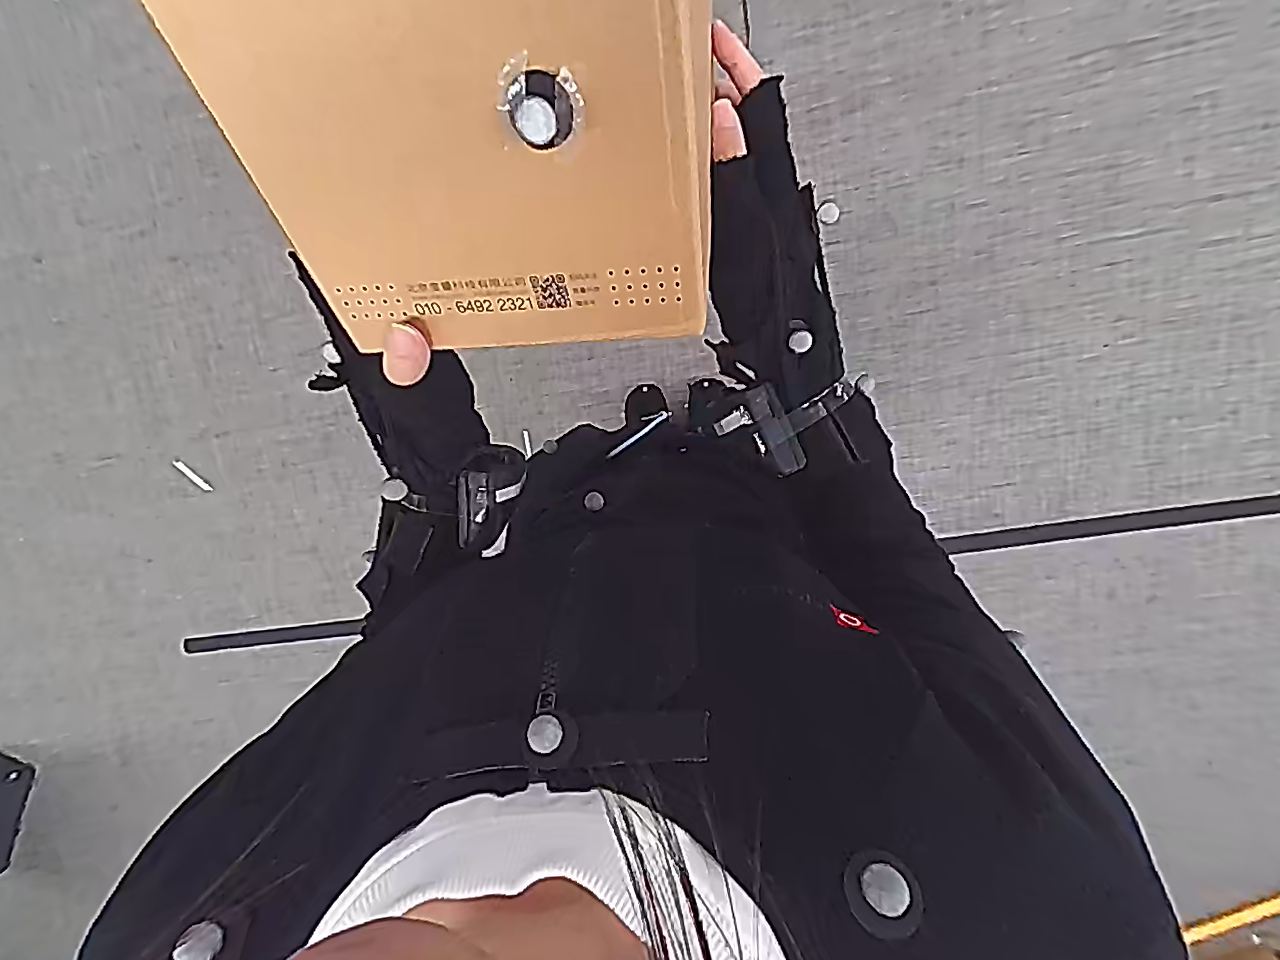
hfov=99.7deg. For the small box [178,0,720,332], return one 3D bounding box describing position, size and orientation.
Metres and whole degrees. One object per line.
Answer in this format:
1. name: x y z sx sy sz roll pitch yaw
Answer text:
1. small box: -0.050 -0.183 0.254 0.168 0.179 0.176 1 139 11
